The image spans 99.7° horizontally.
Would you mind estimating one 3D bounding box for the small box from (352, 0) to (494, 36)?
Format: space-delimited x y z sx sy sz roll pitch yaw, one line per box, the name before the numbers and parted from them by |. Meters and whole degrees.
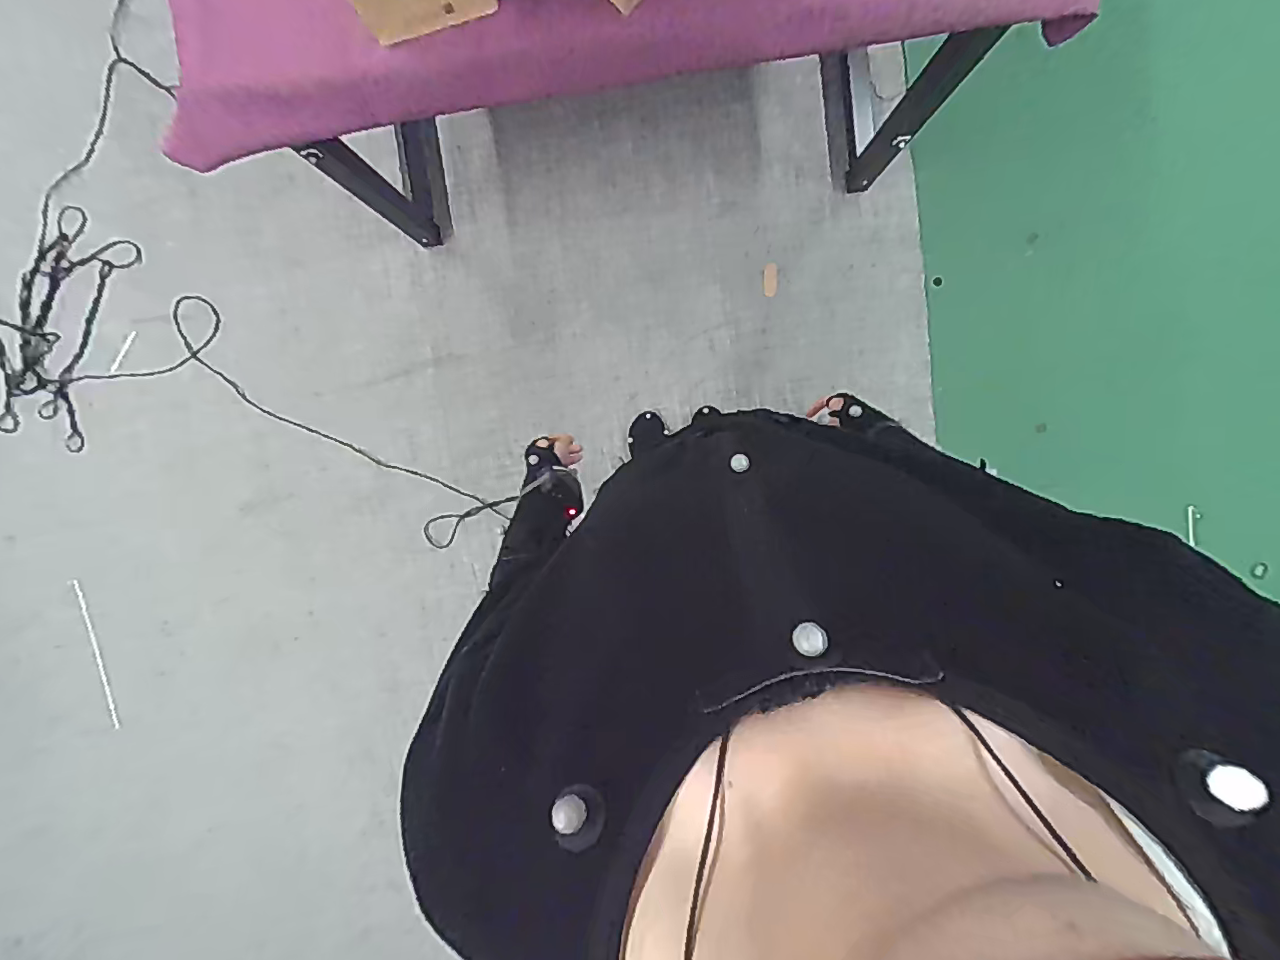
small box | -0.289 -0.674 0.635 0.168 0.176 0.179 -15 94 3
